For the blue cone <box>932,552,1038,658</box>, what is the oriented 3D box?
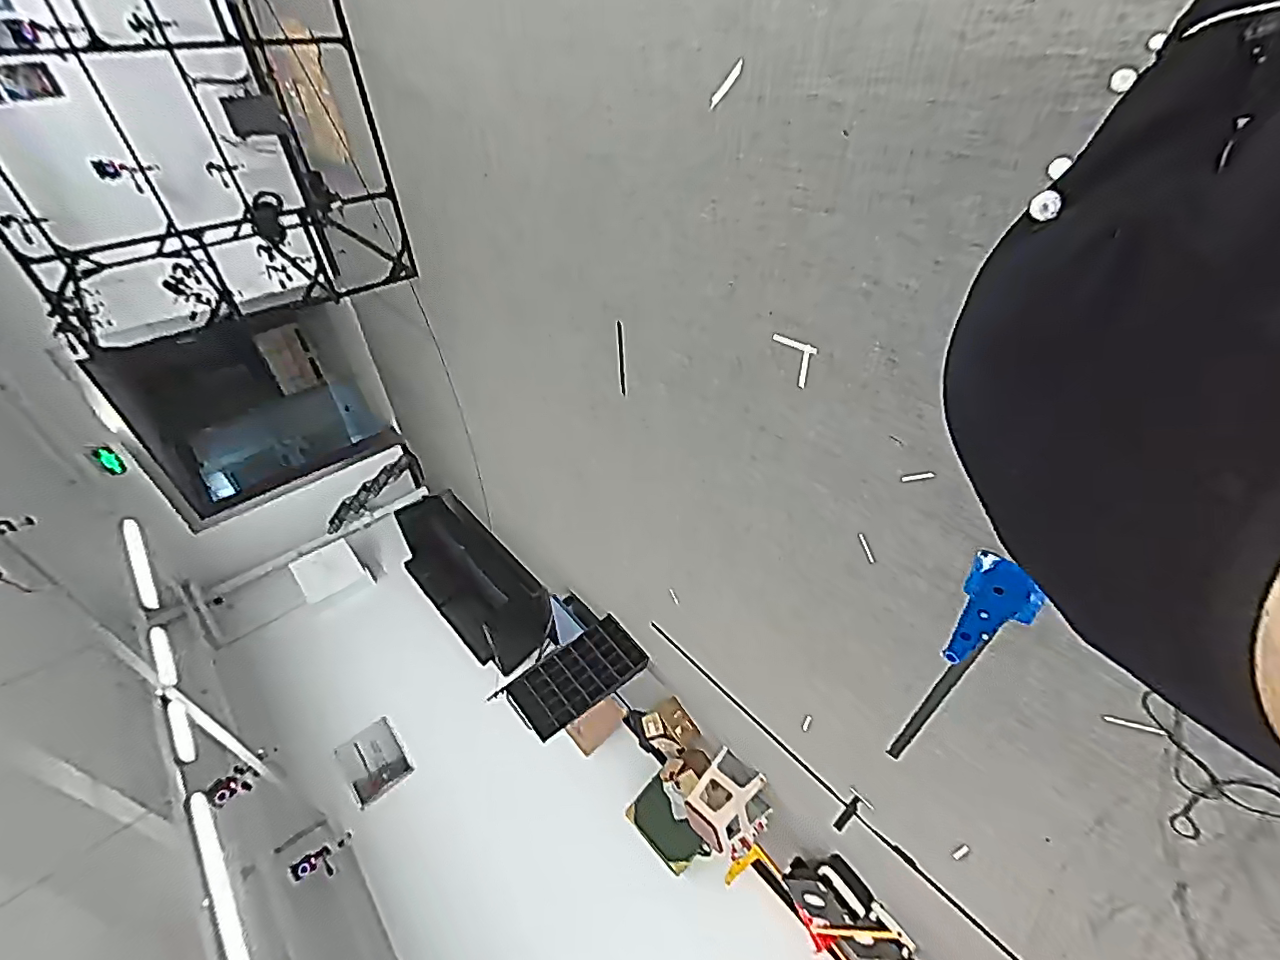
[{"bbox_3d":[0.966,0.397,1.568,0.192,0.380,0.193,34,142,38],"label":"blue cone"}]
